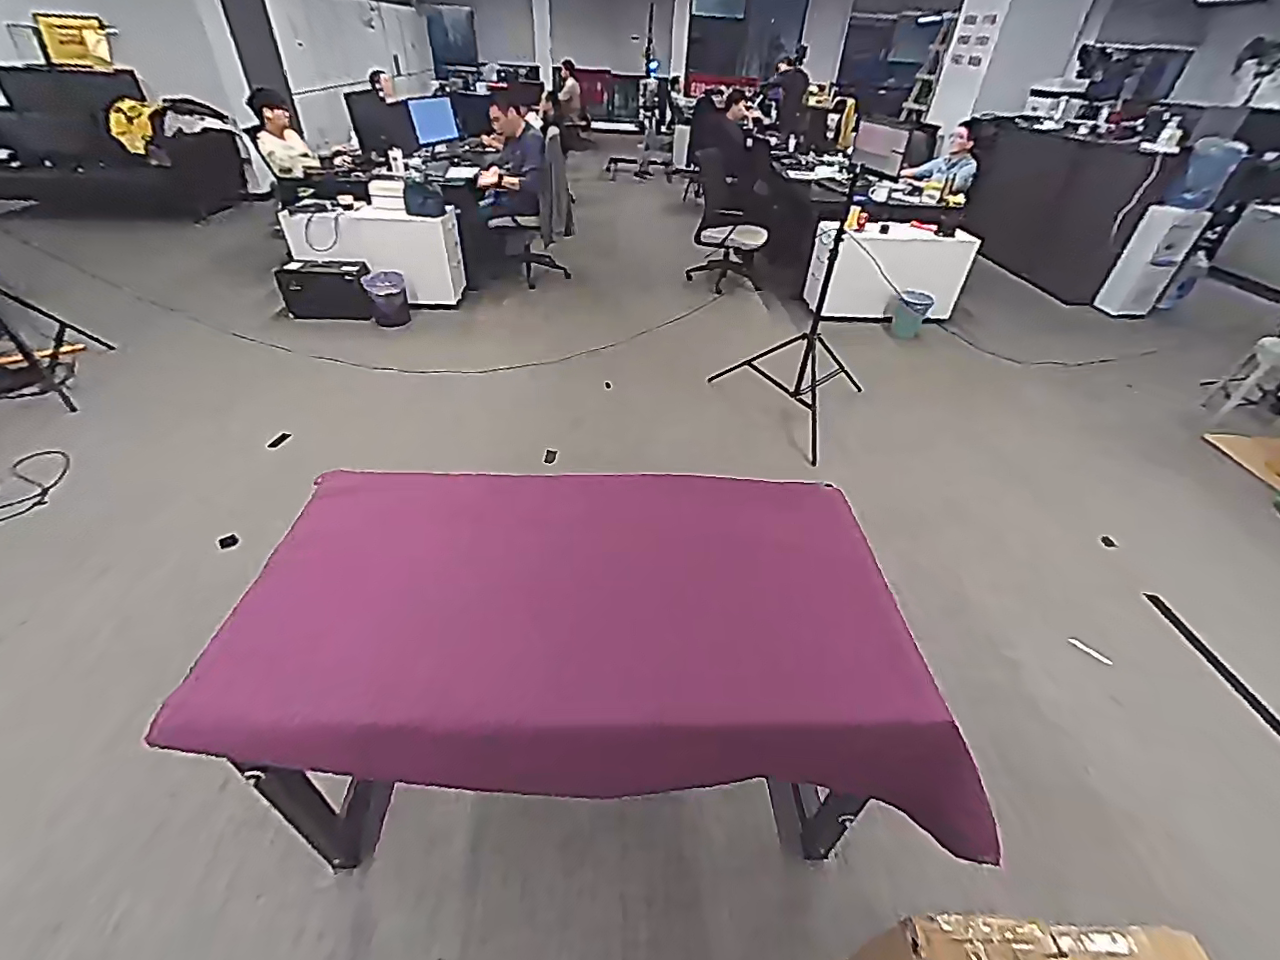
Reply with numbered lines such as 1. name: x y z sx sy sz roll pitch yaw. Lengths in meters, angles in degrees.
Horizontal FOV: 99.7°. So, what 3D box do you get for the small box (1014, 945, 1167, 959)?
1. small box: 0.496 0.635 0.584 0.168 0.176 0.179 0 40 -2
